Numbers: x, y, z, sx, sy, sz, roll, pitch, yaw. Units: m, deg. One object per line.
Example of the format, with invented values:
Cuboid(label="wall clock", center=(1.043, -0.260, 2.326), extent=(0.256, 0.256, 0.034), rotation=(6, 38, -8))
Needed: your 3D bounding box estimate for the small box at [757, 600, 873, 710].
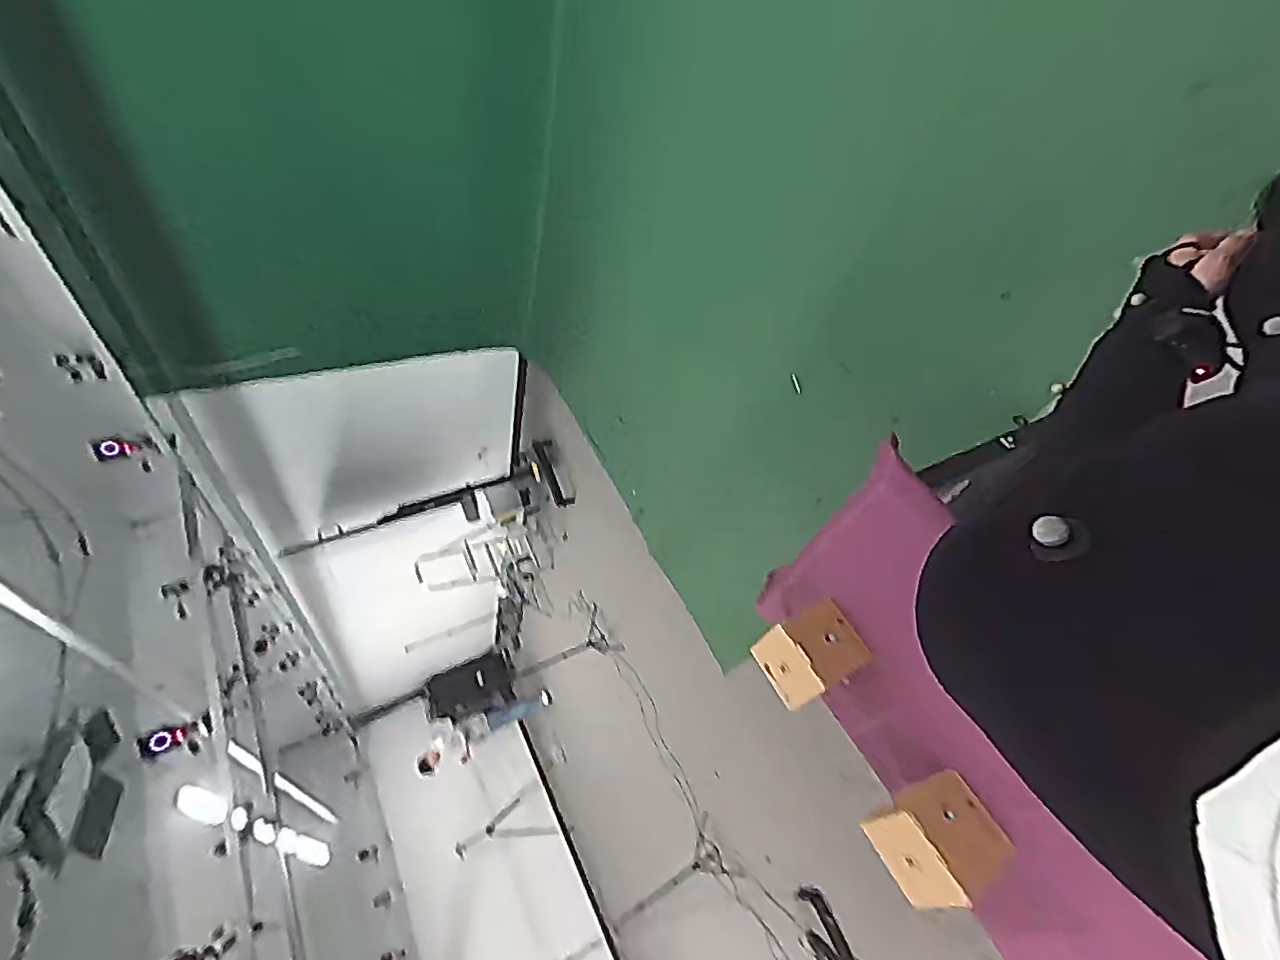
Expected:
Cuboid(label="small box", center=(0.419, 0.412, 1.287), extent=(0.168, 0.176, 0.179), rotation=(57, 148, 27))

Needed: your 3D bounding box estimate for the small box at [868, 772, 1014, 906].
Cuboid(label="small box", center=(0.617, 0.729, 1.104), extent=(0.168, 0.176, 0.179), rotation=(58, 149, 28))
